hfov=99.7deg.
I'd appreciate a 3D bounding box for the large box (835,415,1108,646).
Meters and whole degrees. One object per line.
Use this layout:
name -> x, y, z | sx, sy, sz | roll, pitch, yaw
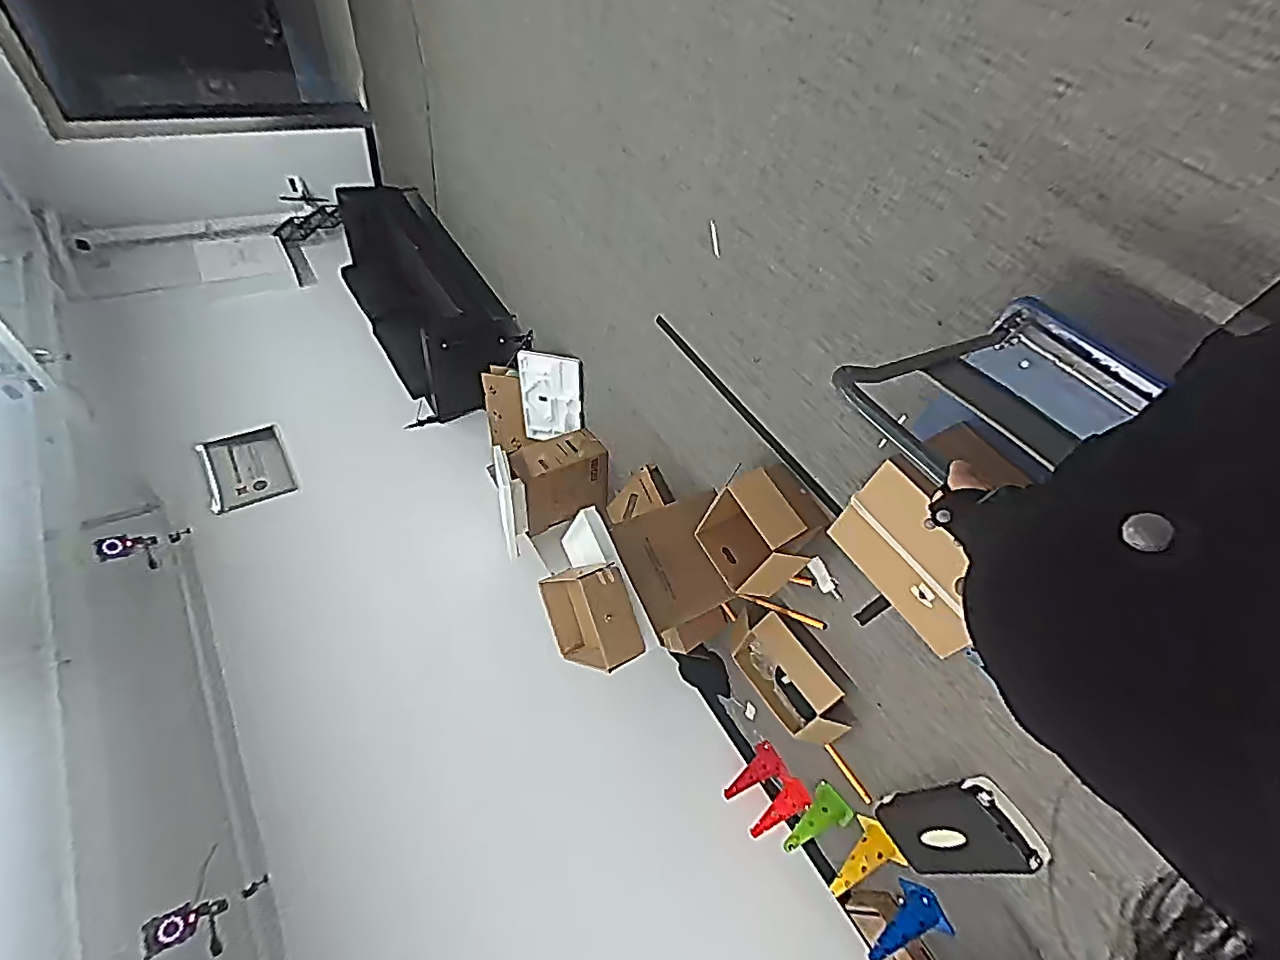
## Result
large box -> 0.777, 0.111, 1.314 | 0.408, 0.320, 0.320 | 52, 149, 26
